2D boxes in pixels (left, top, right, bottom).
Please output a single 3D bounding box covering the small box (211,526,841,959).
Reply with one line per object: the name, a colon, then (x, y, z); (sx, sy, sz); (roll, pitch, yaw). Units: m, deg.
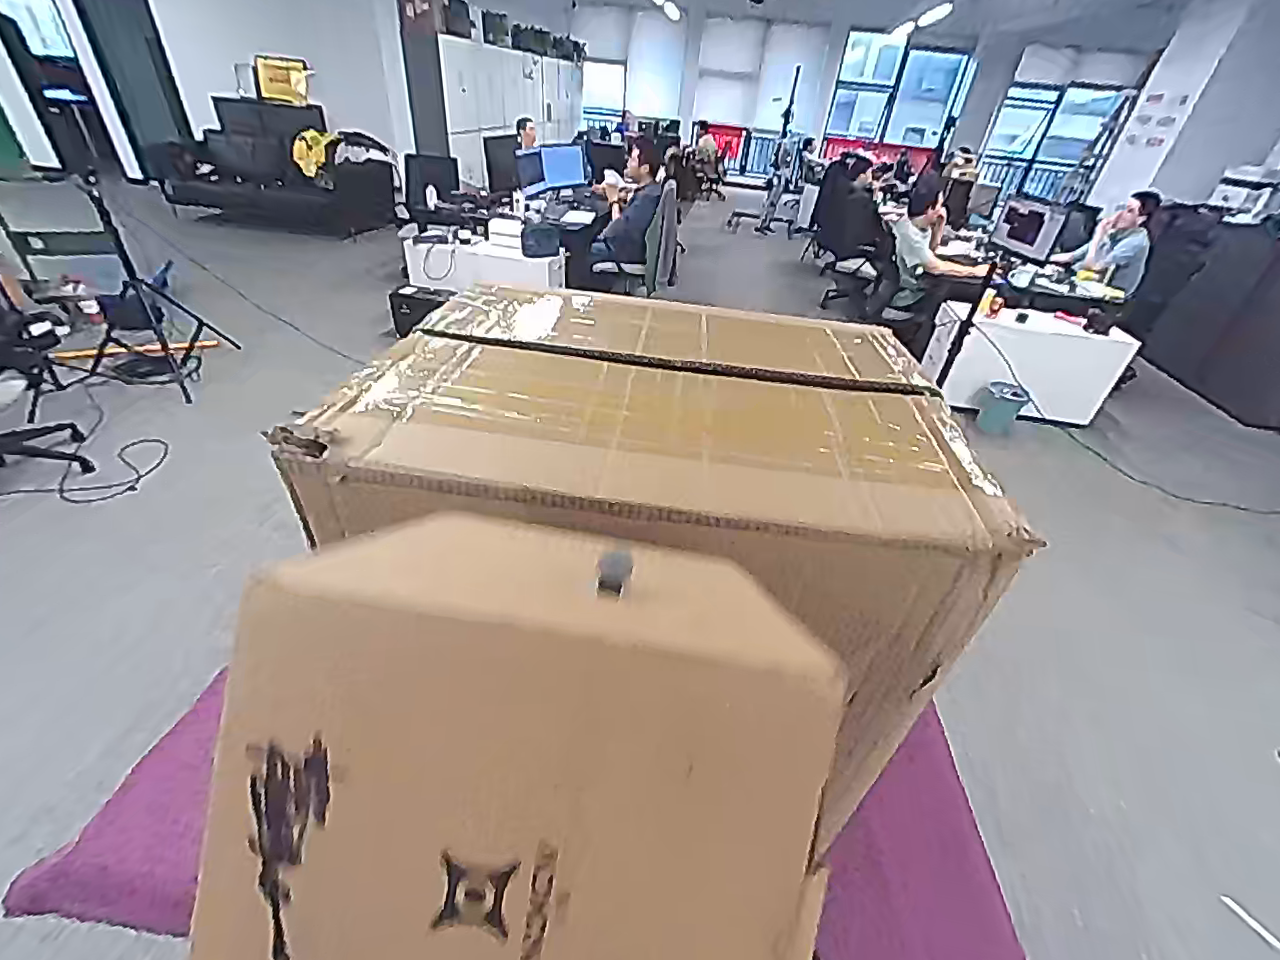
small box: (-0.040, 0.119, 0.244); (0.179, 0.168, 0.176); (10, 0, -3)
